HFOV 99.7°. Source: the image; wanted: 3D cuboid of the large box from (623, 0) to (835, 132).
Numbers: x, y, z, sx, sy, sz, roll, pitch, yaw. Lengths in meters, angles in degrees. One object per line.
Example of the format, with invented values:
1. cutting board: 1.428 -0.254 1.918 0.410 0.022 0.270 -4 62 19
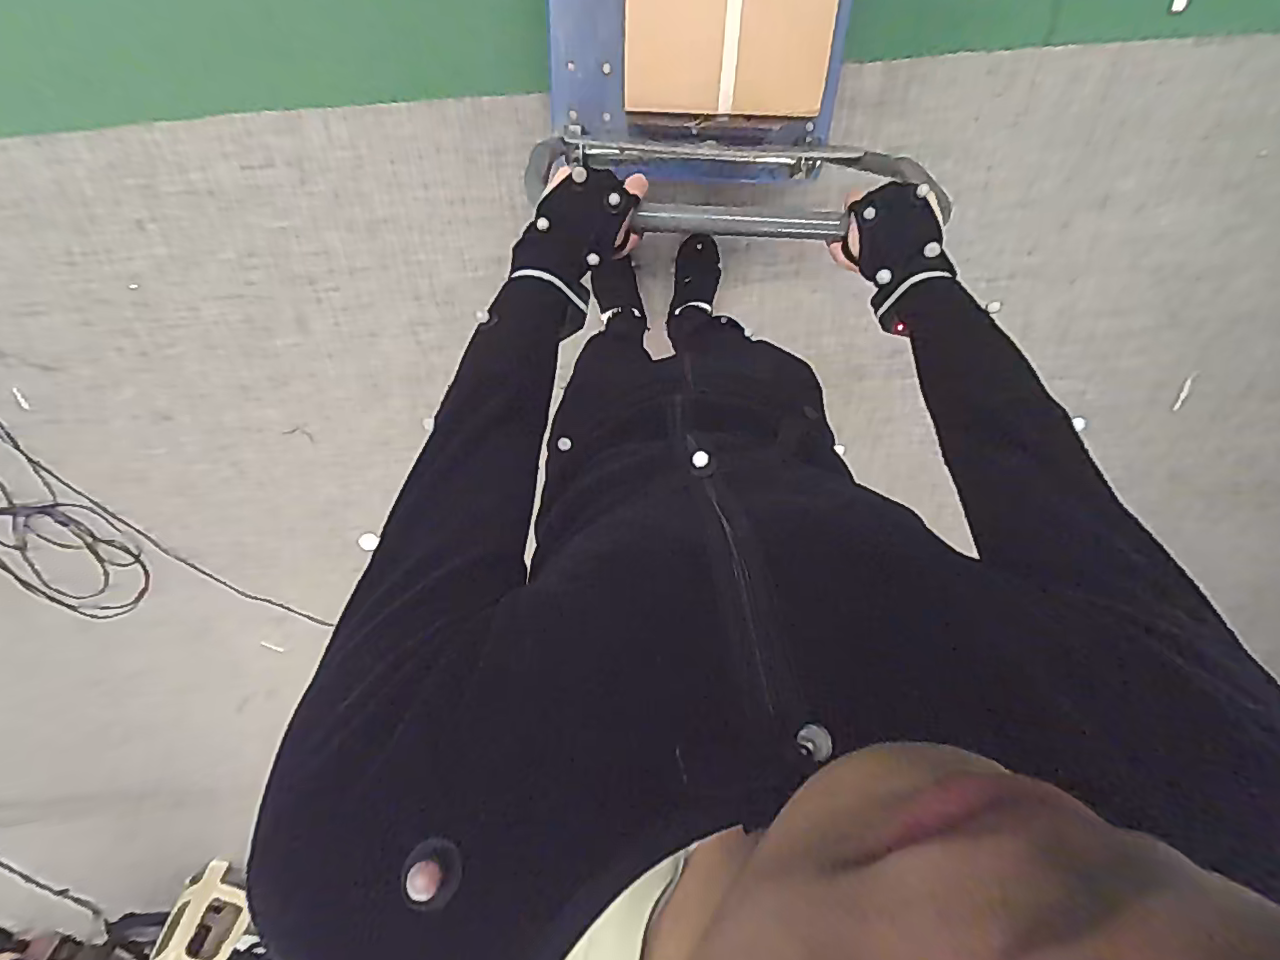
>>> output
1. large box: 0.134 -0.823 0.894 0.320 0.320 0.408 1 120 -2
